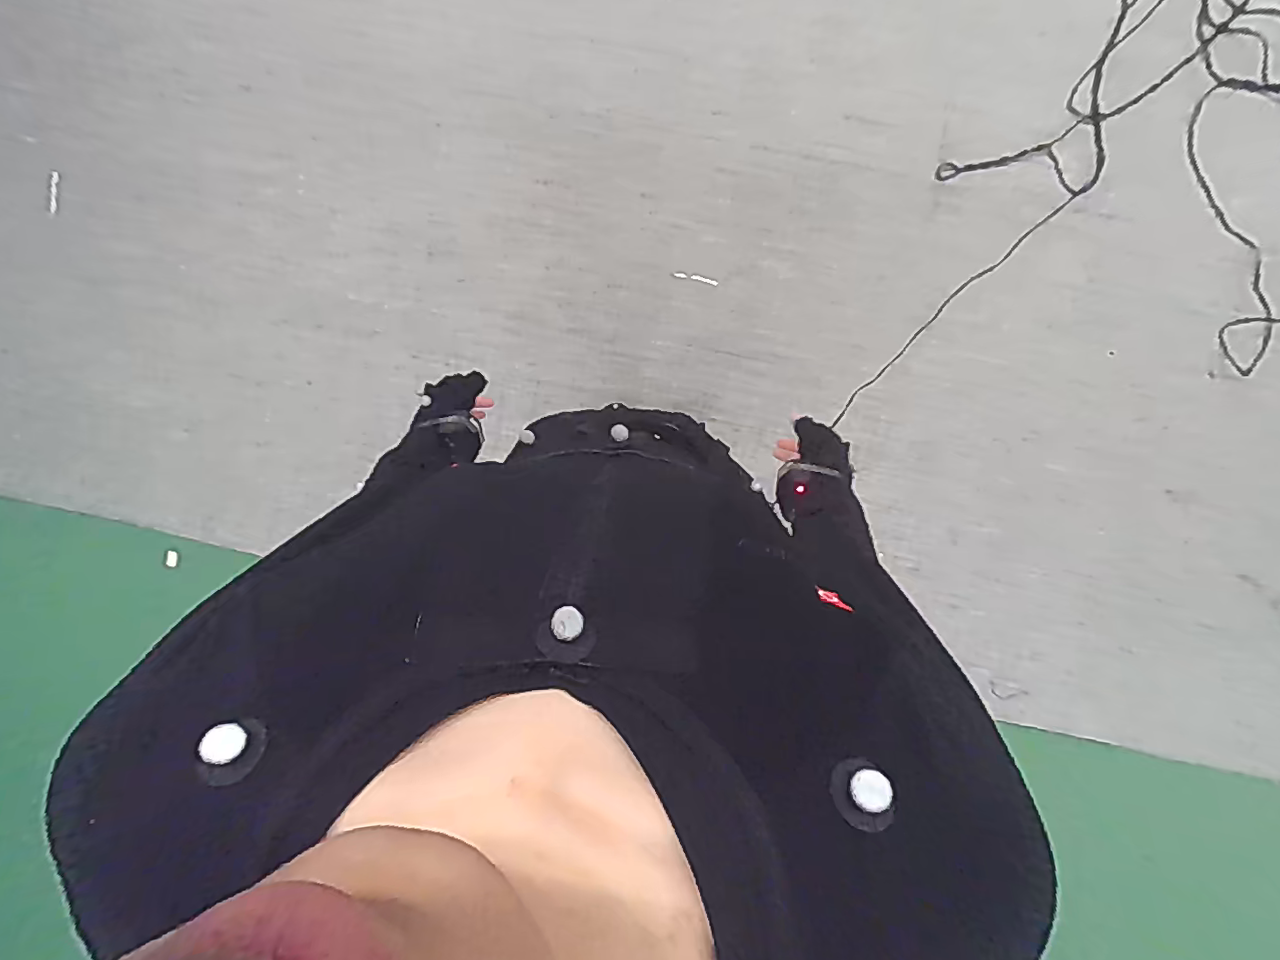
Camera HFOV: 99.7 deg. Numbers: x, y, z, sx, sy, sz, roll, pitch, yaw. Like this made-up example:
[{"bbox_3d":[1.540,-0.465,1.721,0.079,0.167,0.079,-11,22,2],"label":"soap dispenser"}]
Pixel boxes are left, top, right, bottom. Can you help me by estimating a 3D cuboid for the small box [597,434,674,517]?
[{"bbox_3d":[-0.019,-0.017,1.421,0.168,0.176,0.179,8,100,-10],"label":"small box"}]
